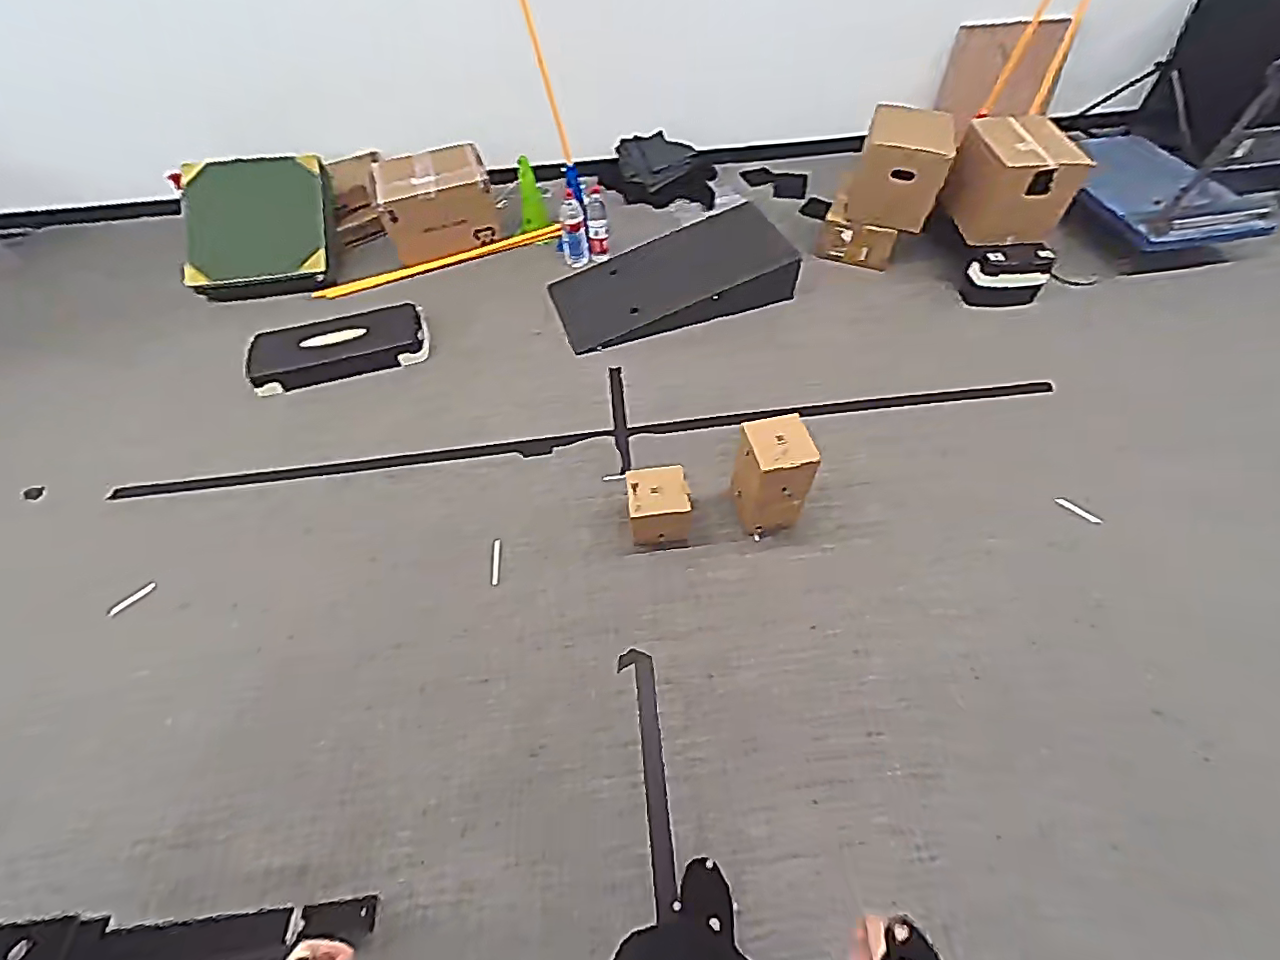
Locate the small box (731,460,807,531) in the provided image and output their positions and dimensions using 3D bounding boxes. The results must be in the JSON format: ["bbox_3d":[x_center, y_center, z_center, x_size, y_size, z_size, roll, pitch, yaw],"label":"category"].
[{"bbox_3d":[0.386,0.040,1.649,0.168,0.176,0.179,-11,54,-6],"label":"small box"}]

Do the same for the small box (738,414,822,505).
[{"bbox_3d":[0.382,-0.056,1.514,0.168,0.176,0.179,-11,55,-5],"label":"small box"}]

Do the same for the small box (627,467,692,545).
[{"bbox_3d":[0.054,0.082,1.631,0.179,0.176,0.168,-5,54,-3],"label":"small box"}]
